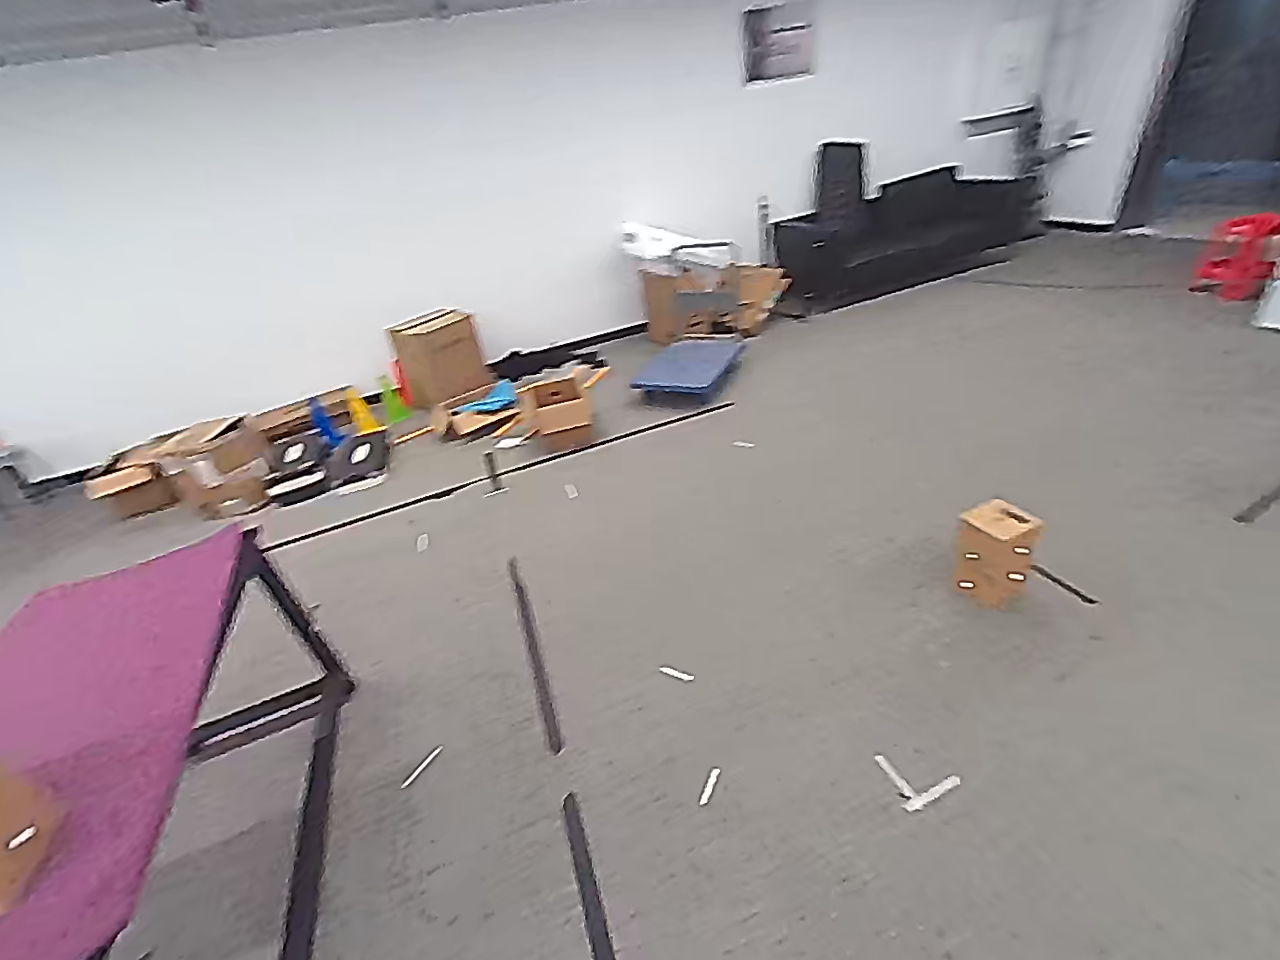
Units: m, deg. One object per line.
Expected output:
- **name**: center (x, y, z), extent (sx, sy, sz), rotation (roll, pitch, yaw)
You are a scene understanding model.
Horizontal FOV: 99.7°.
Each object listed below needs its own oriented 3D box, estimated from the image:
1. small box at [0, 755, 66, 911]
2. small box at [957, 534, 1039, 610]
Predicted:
- **small box**: center (-1.050, 0.562, 0.808), extent (0.179, 0.176, 0.168), rotation (-19, 32, -15)
- **small box**: center (1.260, 0.328, 1.918), extent (0.179, 0.176, 0.168), rotation (-21, 33, -17)
